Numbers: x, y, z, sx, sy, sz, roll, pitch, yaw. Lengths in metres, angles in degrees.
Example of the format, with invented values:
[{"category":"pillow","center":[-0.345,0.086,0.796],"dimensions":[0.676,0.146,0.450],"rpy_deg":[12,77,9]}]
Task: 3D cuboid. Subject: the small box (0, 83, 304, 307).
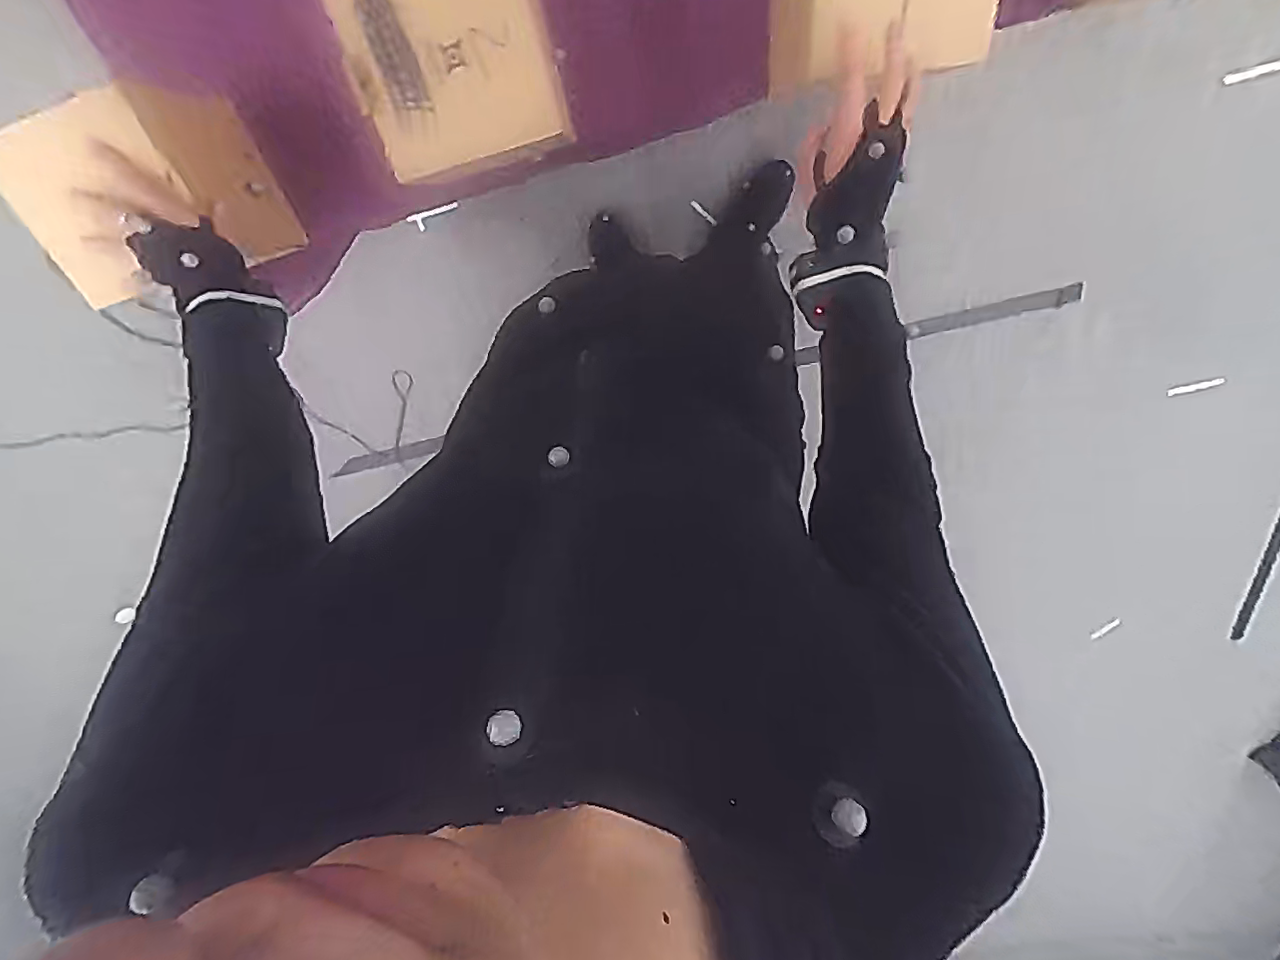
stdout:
[{"category":"small box","center":[-0.539,-0.316,0.616],"dimensions":[0.179,0.176,0.168],"rpy_deg":[-16,119,7]}]
